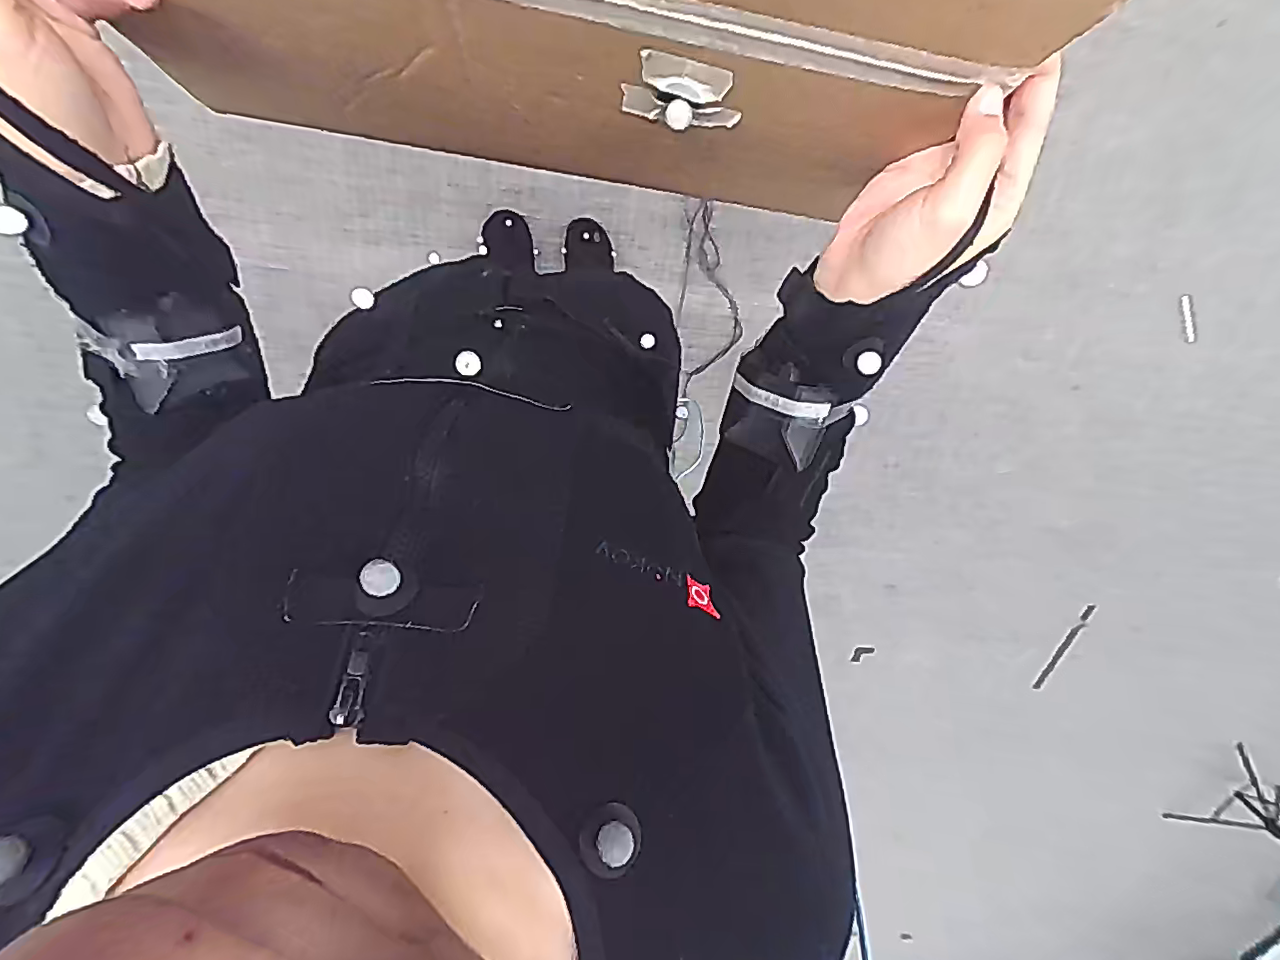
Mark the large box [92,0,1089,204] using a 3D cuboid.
[{"bbox_3d":[-0.028,-0.344,0.193,0.408,0.320,0.320,5,96,-7],"label":"large box"}]
